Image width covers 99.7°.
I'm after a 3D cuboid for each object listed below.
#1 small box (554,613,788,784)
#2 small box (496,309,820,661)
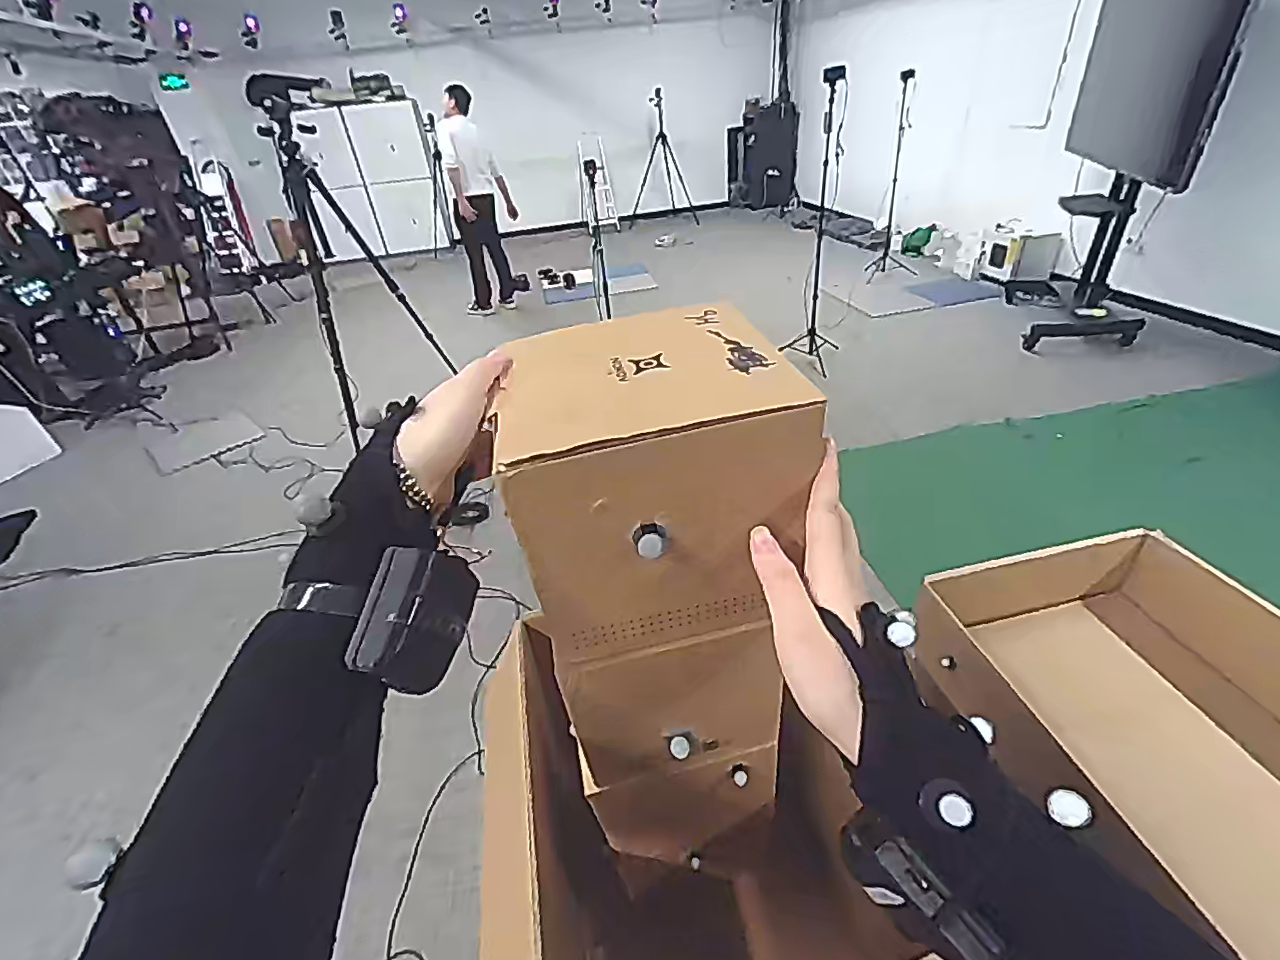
[{"bbox_3d":[0.017,0.132,0.484,0.168,0.176,0.179,-12,38,-5],"label":"small box"},{"bbox_3d":[0.009,0.002,0.385,0.179,0.176,0.168,-13,38,-4],"label":"small box"}]
